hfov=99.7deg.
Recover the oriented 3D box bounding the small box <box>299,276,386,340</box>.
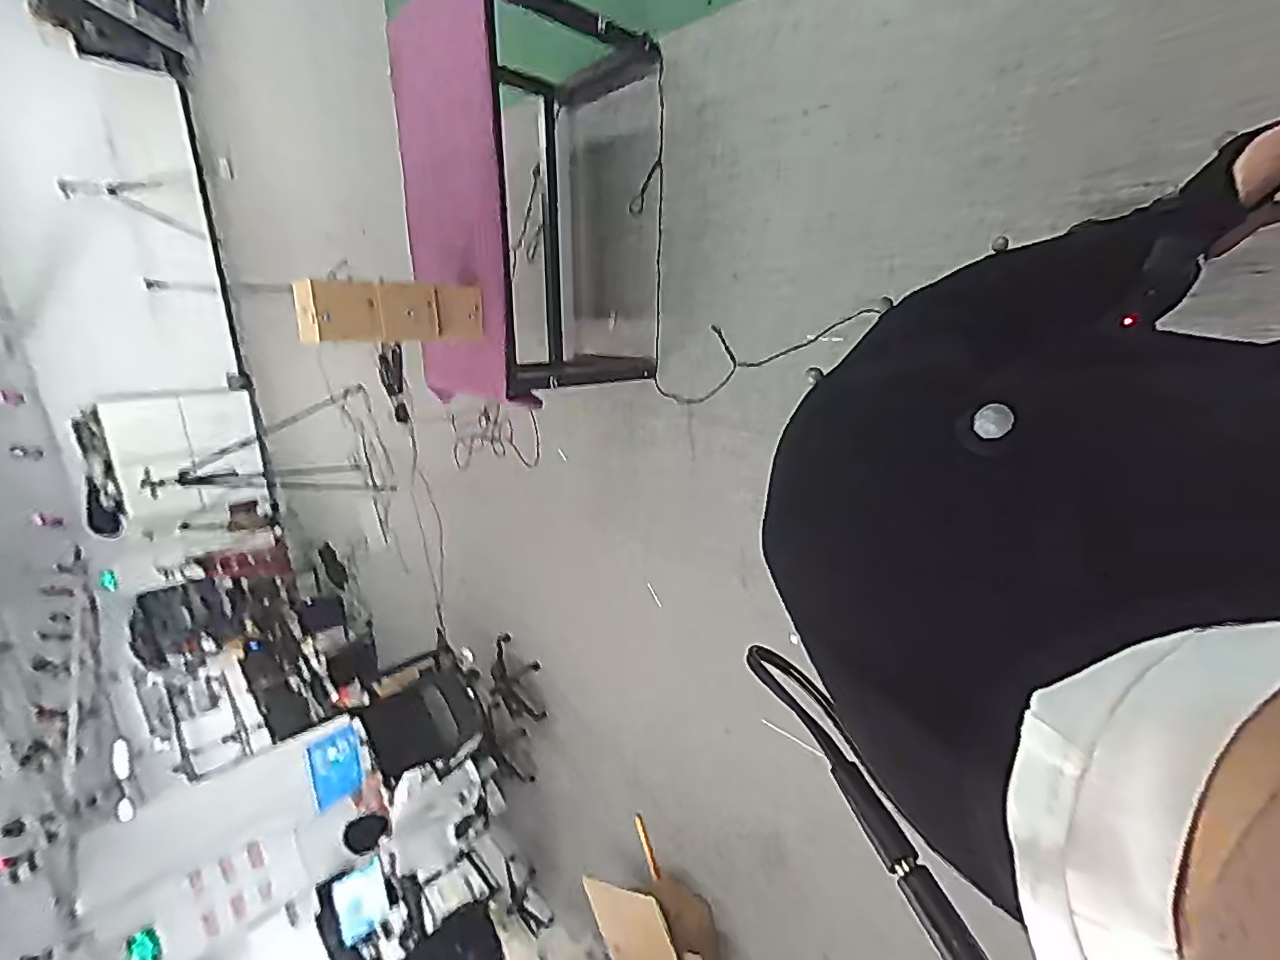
[{"bbox_3d":[-0.842,-0.485,1.536,0.179,0.176,0.168,16,113,44],"label":"small box"}]

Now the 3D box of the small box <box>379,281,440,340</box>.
[{"bbox_3d":[-0.719,-0.515,1.641,0.179,0.176,0.168,17,113,43],"label":"small box"}]
